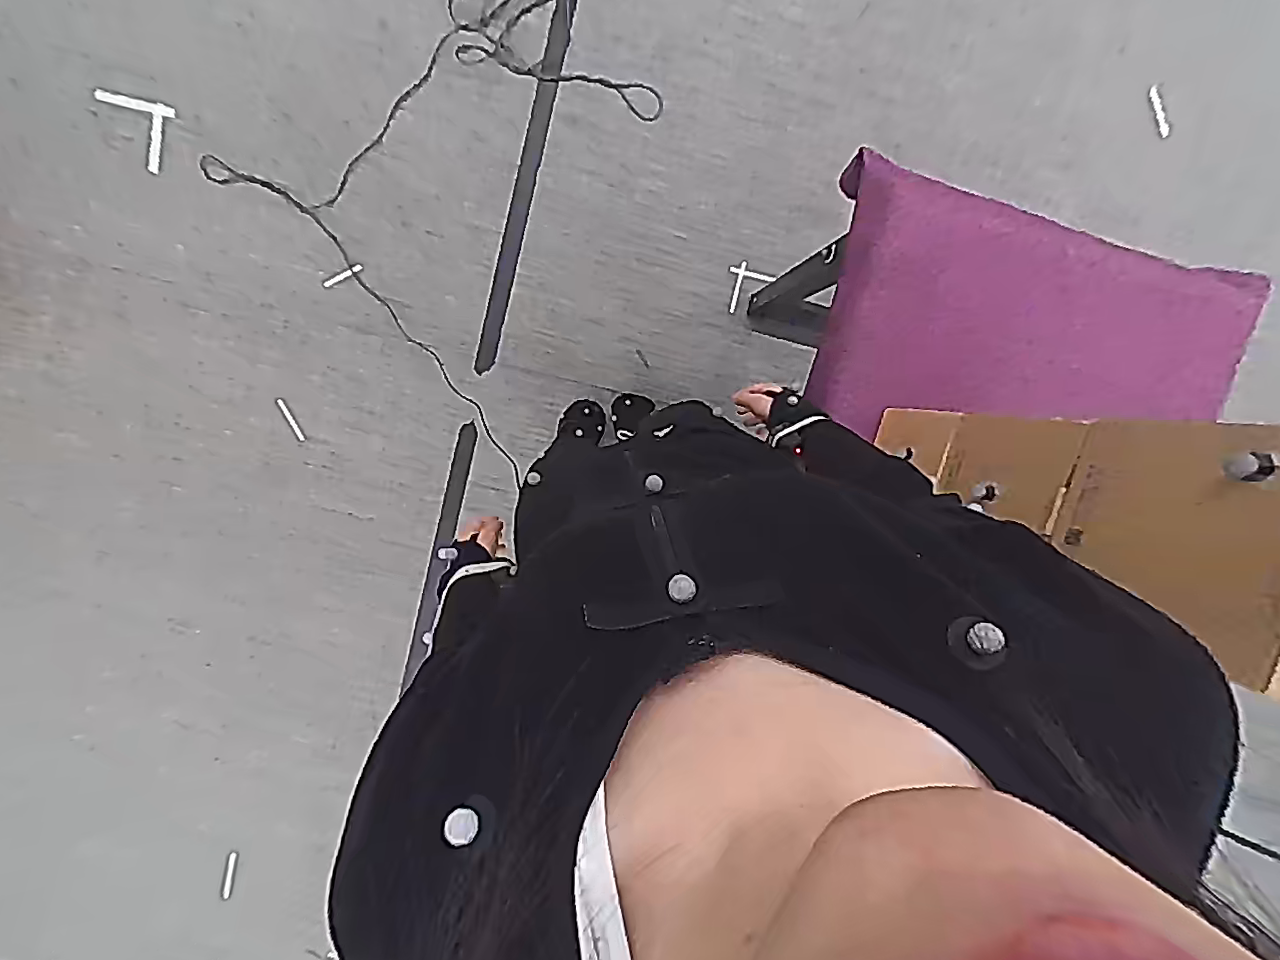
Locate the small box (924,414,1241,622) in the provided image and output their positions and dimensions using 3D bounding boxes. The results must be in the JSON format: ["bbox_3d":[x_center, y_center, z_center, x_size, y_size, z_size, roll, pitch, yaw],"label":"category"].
[{"bbox_3d":[0.444,0.029,0.576,0.179,0.176,0.168,12,98,-7],"label":"small box"}]

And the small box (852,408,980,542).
[{"bbox_3d":[0.421,0.004,0.736,0.179,0.176,0.168,14,97,-8],"label":"small box"}]
